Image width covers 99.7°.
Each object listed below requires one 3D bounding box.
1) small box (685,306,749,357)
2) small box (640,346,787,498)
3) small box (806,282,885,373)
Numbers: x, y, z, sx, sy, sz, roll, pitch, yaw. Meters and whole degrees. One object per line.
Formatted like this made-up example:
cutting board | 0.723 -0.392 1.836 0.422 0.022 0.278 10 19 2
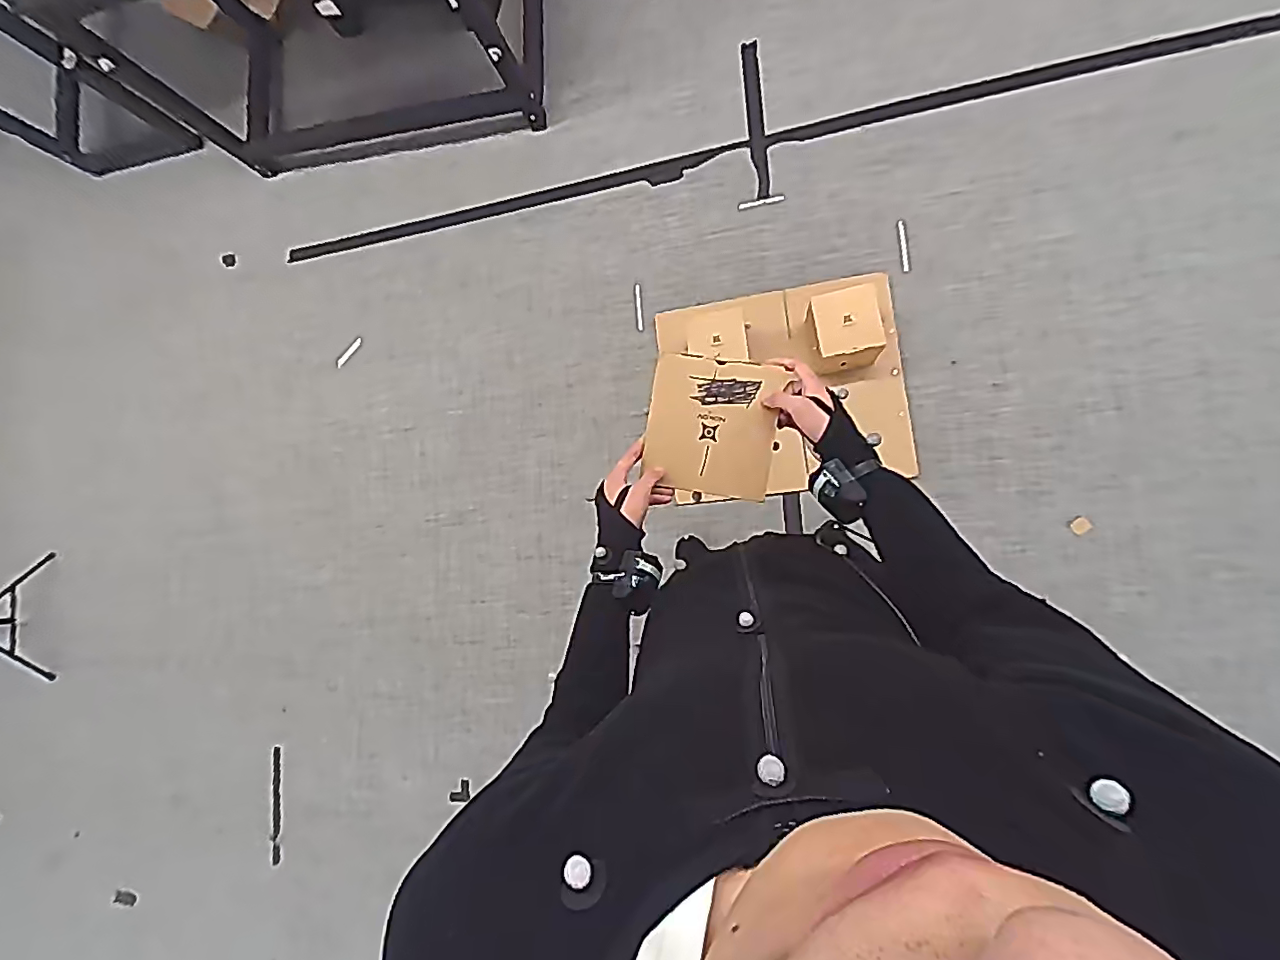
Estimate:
small box | 0.228 -0.380 1.575 0.168 0.176 0.179 -8 85 13
small box | 0.102 -0.074 0.768 0.168 0.176 0.179 9 91 7
small box | 0.565 -0.418 1.510 0.168 0.176 0.179 -11 83 12
